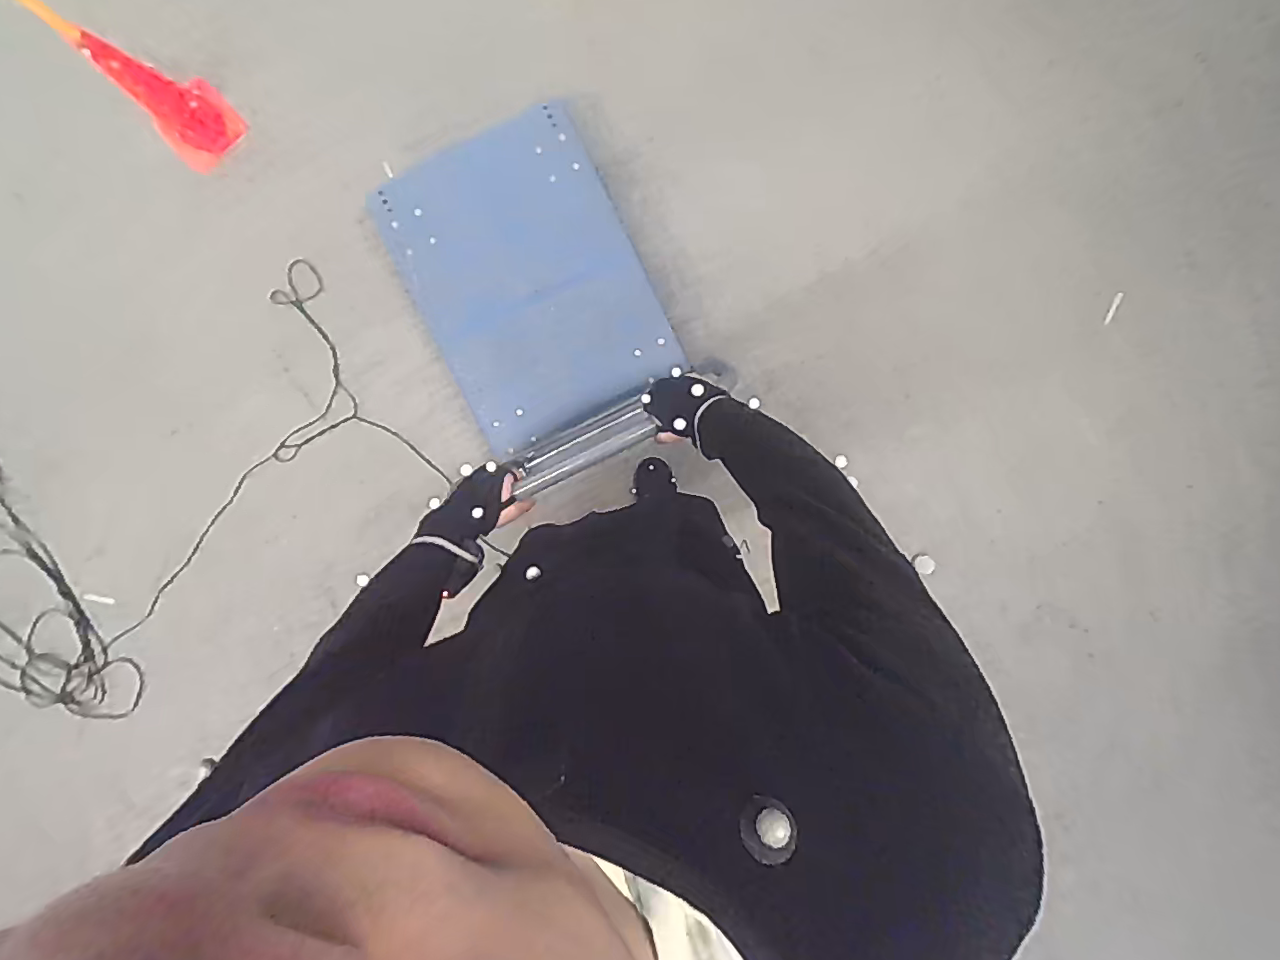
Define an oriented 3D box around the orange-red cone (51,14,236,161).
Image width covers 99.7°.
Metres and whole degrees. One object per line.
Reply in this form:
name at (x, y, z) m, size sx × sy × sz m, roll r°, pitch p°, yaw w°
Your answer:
orange-red cone at (-1.277, -1.020, 1.366) m, size 0.199 × 0.360 × 0.198 m, roll -42°, pitch 92°, yaw 5°
